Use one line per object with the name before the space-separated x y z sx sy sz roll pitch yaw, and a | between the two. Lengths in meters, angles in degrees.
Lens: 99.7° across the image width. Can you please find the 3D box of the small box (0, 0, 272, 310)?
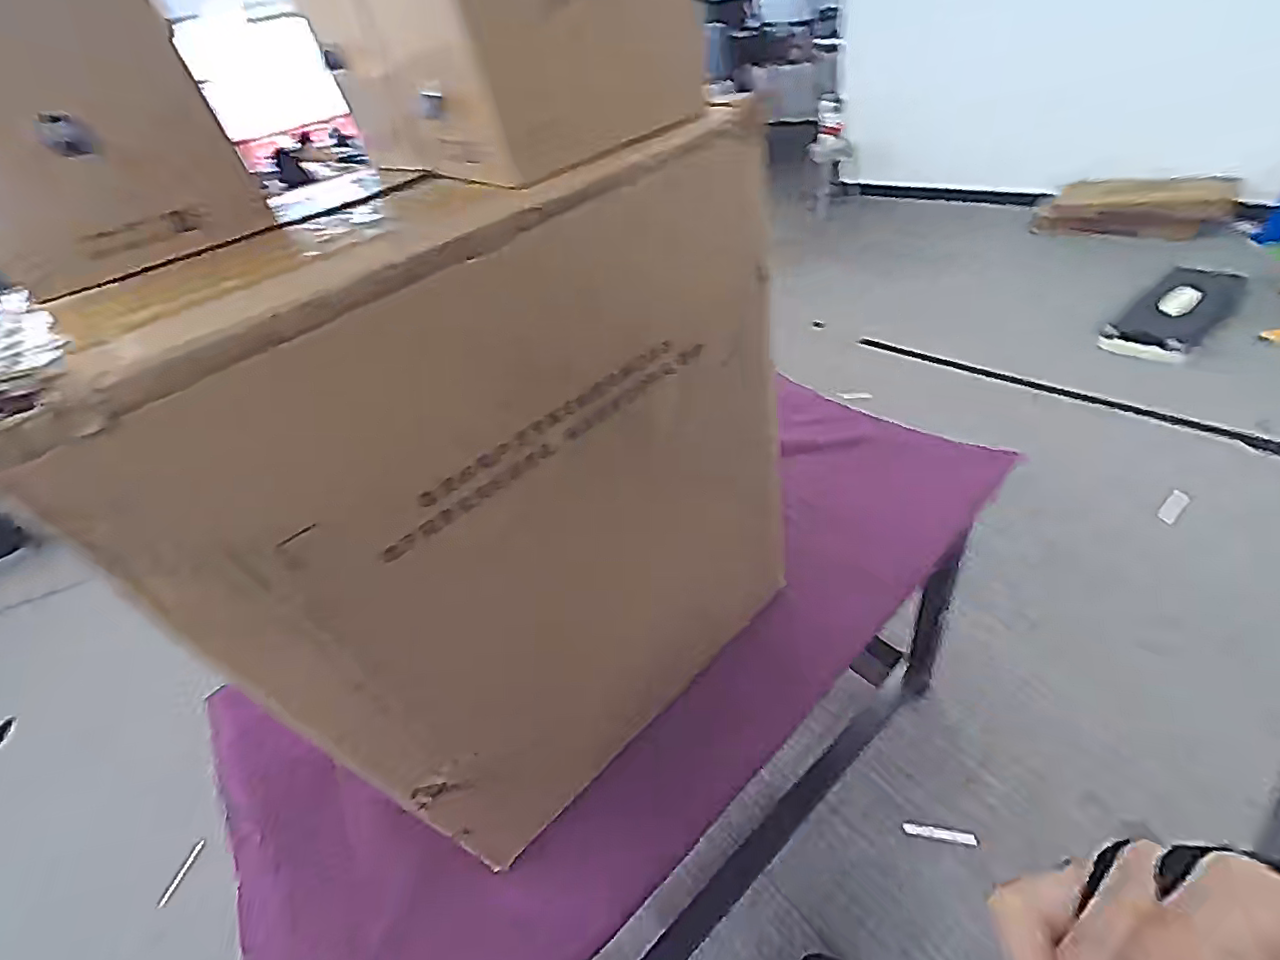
small box | -0.401 -0.239 0.384 0.168 0.176 0.179 -35 44 -25
